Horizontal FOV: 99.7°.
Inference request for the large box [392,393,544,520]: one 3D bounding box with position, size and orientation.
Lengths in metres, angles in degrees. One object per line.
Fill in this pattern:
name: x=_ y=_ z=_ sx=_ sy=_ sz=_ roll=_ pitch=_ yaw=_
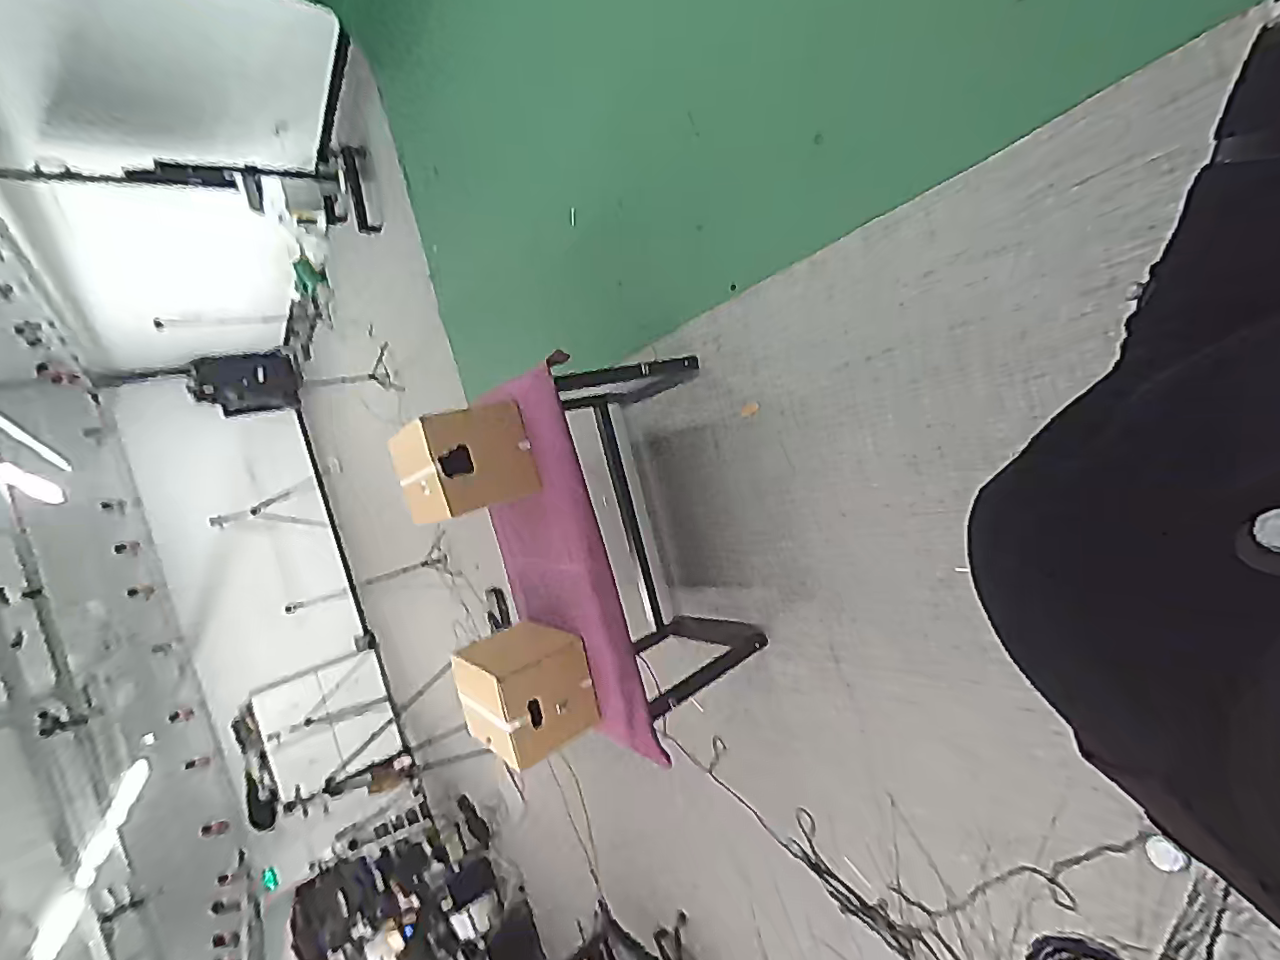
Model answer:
large box: x=-0.574 y=-0.074 z=1.789 sx=0.408 sy=0.320 sz=0.320 roll=-12 pitch=96 yaw=52
